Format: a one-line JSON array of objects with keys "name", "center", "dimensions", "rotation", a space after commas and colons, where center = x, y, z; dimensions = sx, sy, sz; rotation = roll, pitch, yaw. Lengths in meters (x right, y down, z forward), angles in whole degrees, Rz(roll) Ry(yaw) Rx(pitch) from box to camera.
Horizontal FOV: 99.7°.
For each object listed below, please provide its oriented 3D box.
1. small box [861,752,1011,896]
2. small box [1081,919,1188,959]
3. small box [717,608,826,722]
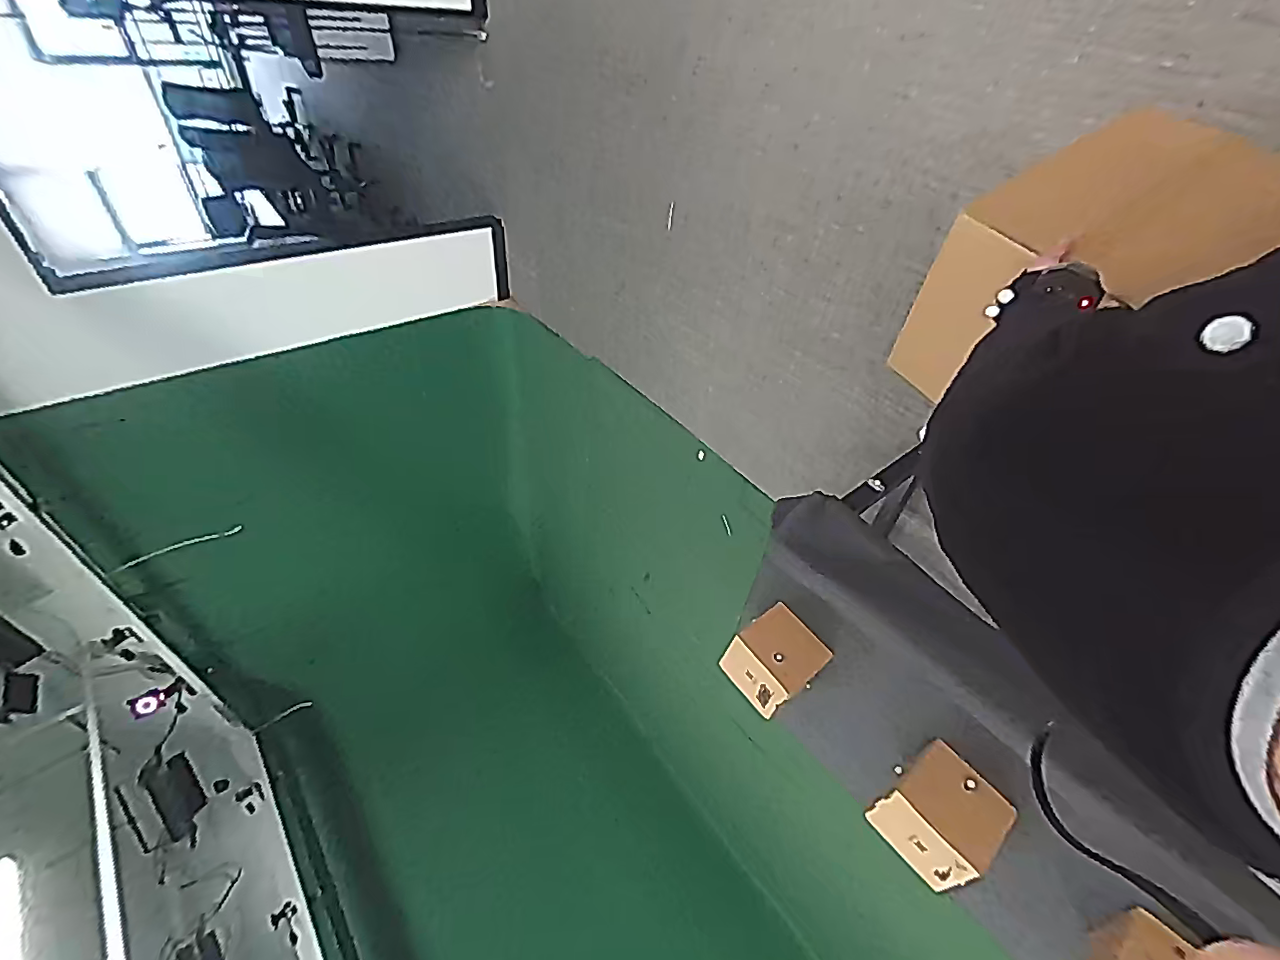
[{"name": "small box", "center": [0.597, 0.686, 1.098], "dimensions": [0.179, 0.176, 0.168], "rotation": [45, 144, 31]}, {"name": "small box", "center": [0.830, 0.871, 0.878], "dimensions": [0.168, 0.176, 0.179], "rotation": [38, 142, 40]}, {"name": "small box", "center": [0.325, 0.454, 1.339], "dimensions": [0.179, 0.176, 0.168], "rotation": [47, 145, 28]}]
